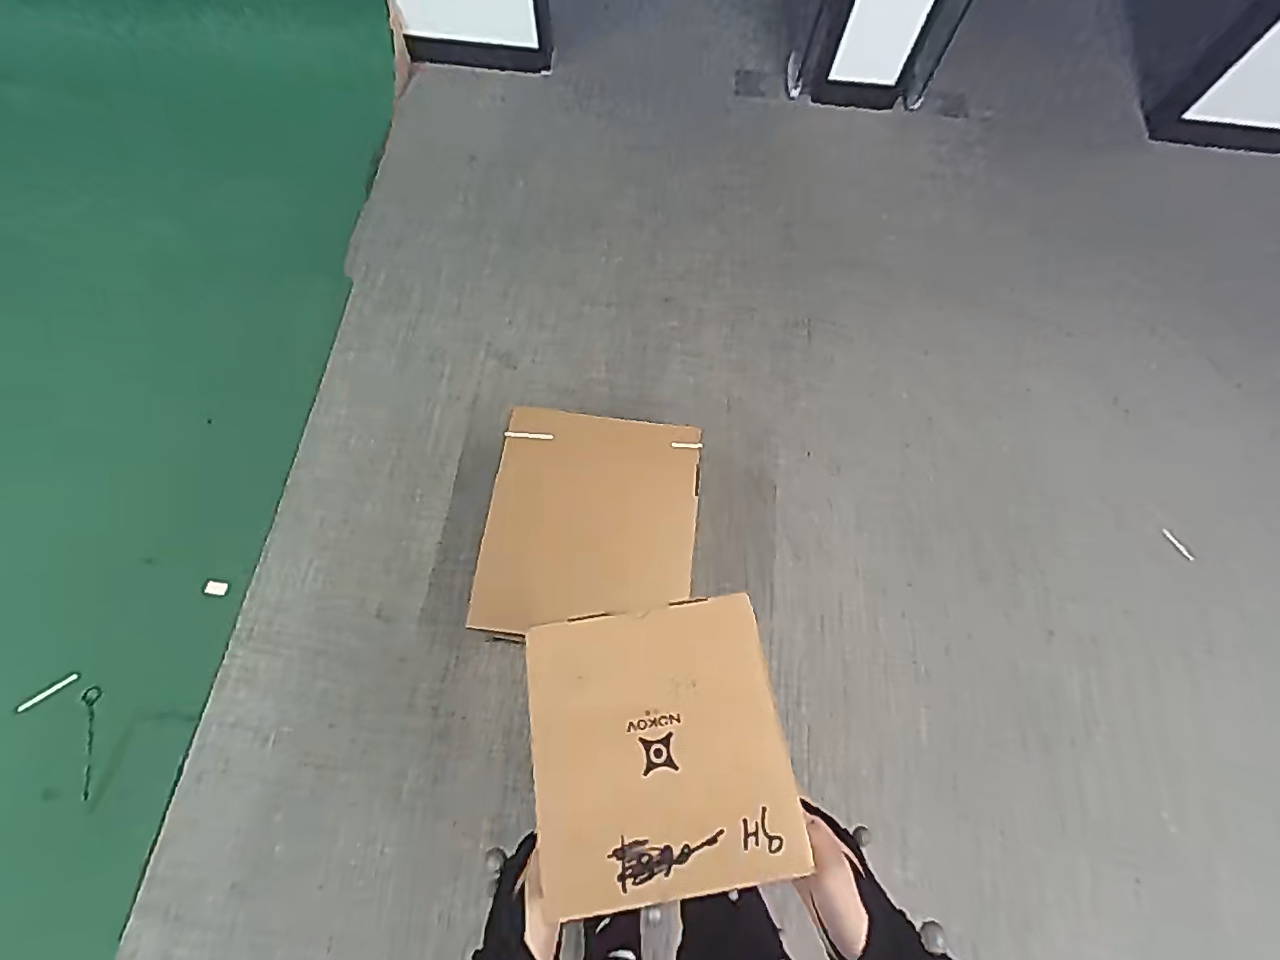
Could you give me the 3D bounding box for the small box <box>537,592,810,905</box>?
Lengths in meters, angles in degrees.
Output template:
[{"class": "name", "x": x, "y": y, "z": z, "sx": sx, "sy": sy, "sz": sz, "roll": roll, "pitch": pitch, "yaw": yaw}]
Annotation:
[{"class": "small box", "x": 0.014, "y": 0.206, "z": 0.436, "sx": 0.168, "sy": 0.176, "sz": 0.179, "roll": -7, "pitch": 63, "yaw": -3}]
